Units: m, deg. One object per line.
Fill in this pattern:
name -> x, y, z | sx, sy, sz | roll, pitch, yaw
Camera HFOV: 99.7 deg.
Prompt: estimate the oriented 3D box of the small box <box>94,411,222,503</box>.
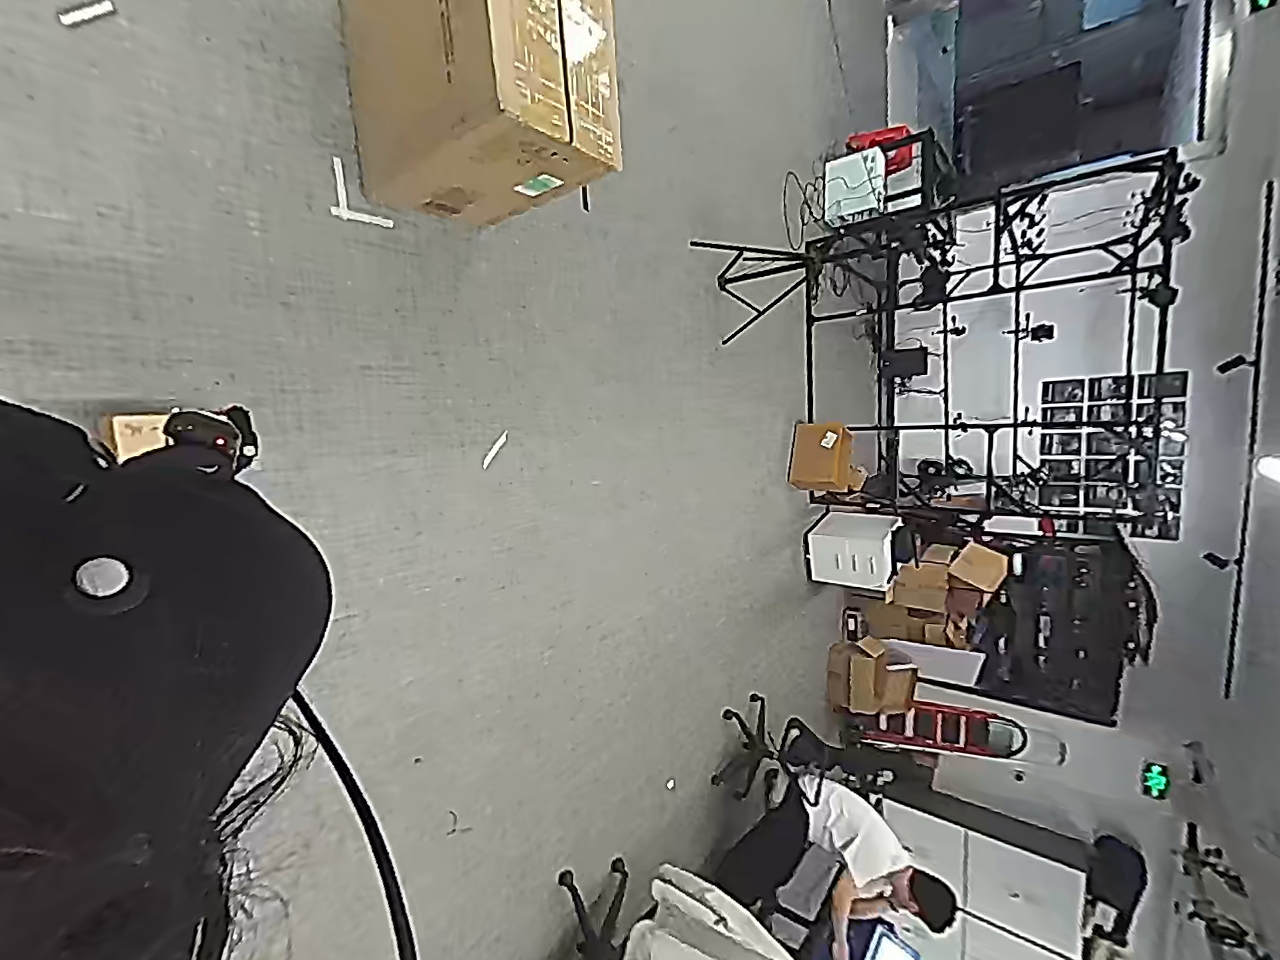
small box -> -1.008, -0.055, 1.132 | 0.168, 0.176, 0.179 | -11, 101, -52
